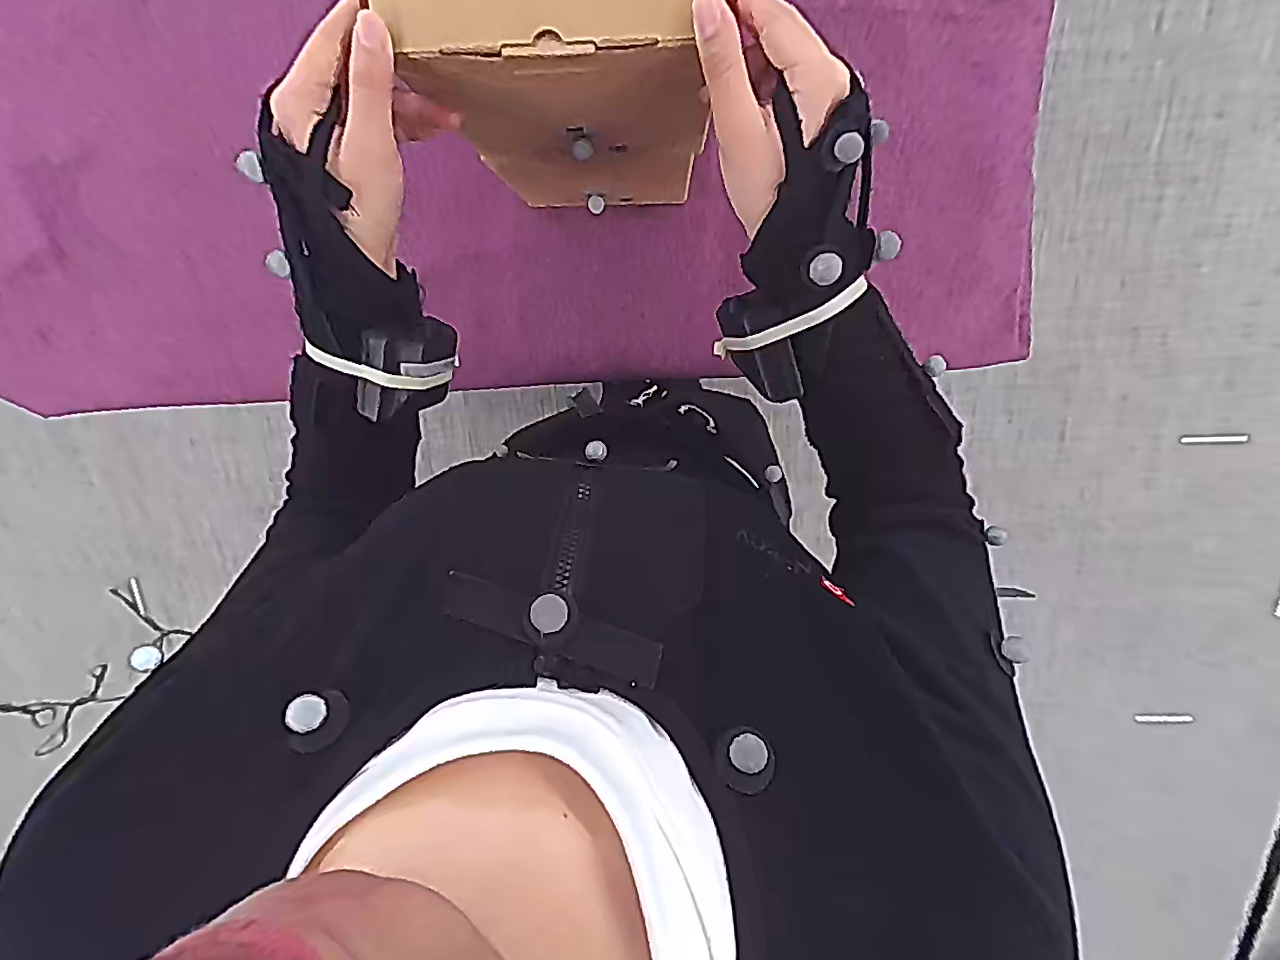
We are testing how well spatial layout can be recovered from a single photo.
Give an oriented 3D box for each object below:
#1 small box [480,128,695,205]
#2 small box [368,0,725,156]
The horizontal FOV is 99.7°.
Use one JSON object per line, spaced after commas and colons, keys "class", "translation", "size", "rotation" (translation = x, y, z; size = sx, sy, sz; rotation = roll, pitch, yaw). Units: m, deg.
{"class": "small box", "translation": [-0.037, -0.353, 0.466], "size": [0.168, 0.176, 0.179], "rotation": [0, 105, 2]}
{"class": "small box", "translation": [-0.039, -0.309, 0.306], "size": [0.168, 0.176, 0.179], "rotation": [0, 104, 3]}
